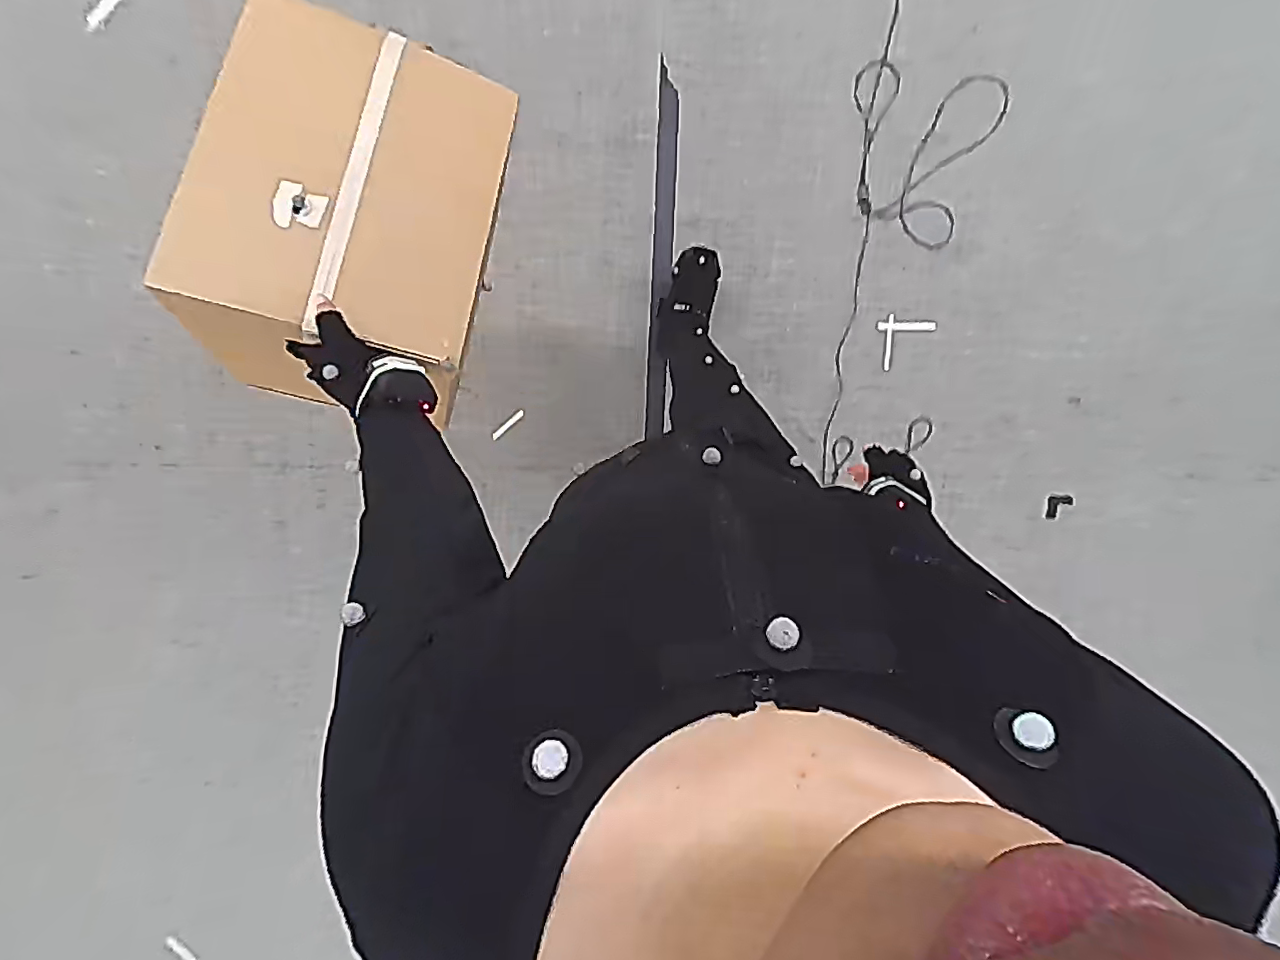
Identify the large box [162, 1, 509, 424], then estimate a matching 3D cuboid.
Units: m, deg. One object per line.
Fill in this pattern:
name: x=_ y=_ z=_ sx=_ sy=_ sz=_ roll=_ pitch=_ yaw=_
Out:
large box: x=-0.399 y=-0.338 z=0.797 sx=0.320 sy=0.320 sz=0.408 roll=12 pitch=77 yaw=-19
